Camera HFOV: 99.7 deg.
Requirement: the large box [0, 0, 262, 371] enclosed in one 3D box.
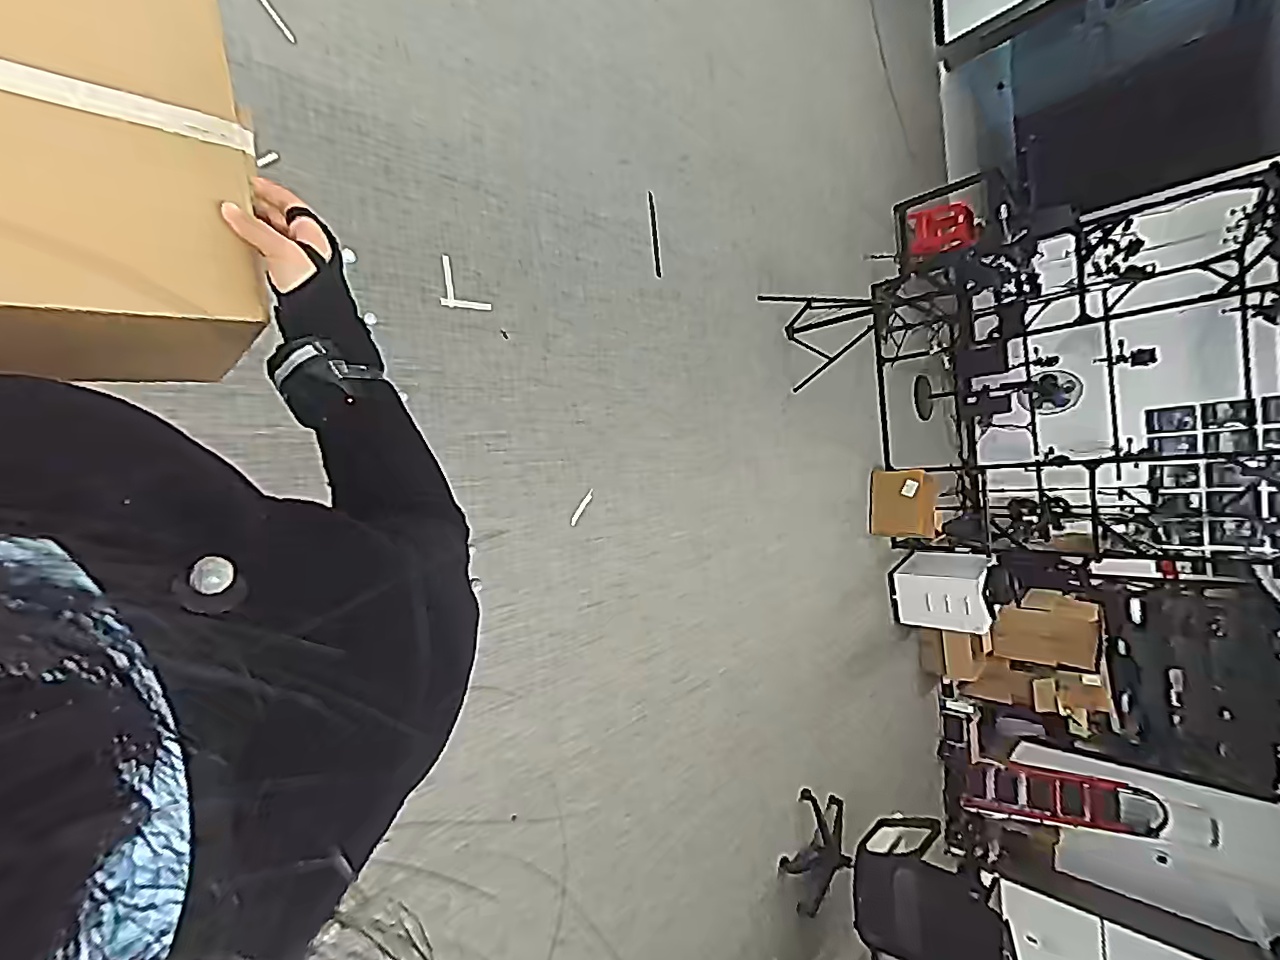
[{"bbox_3d":[-0.598,-0.267,0.444,0.408,0.320,0.320,-10,94,-44],"label":"large box"}]
